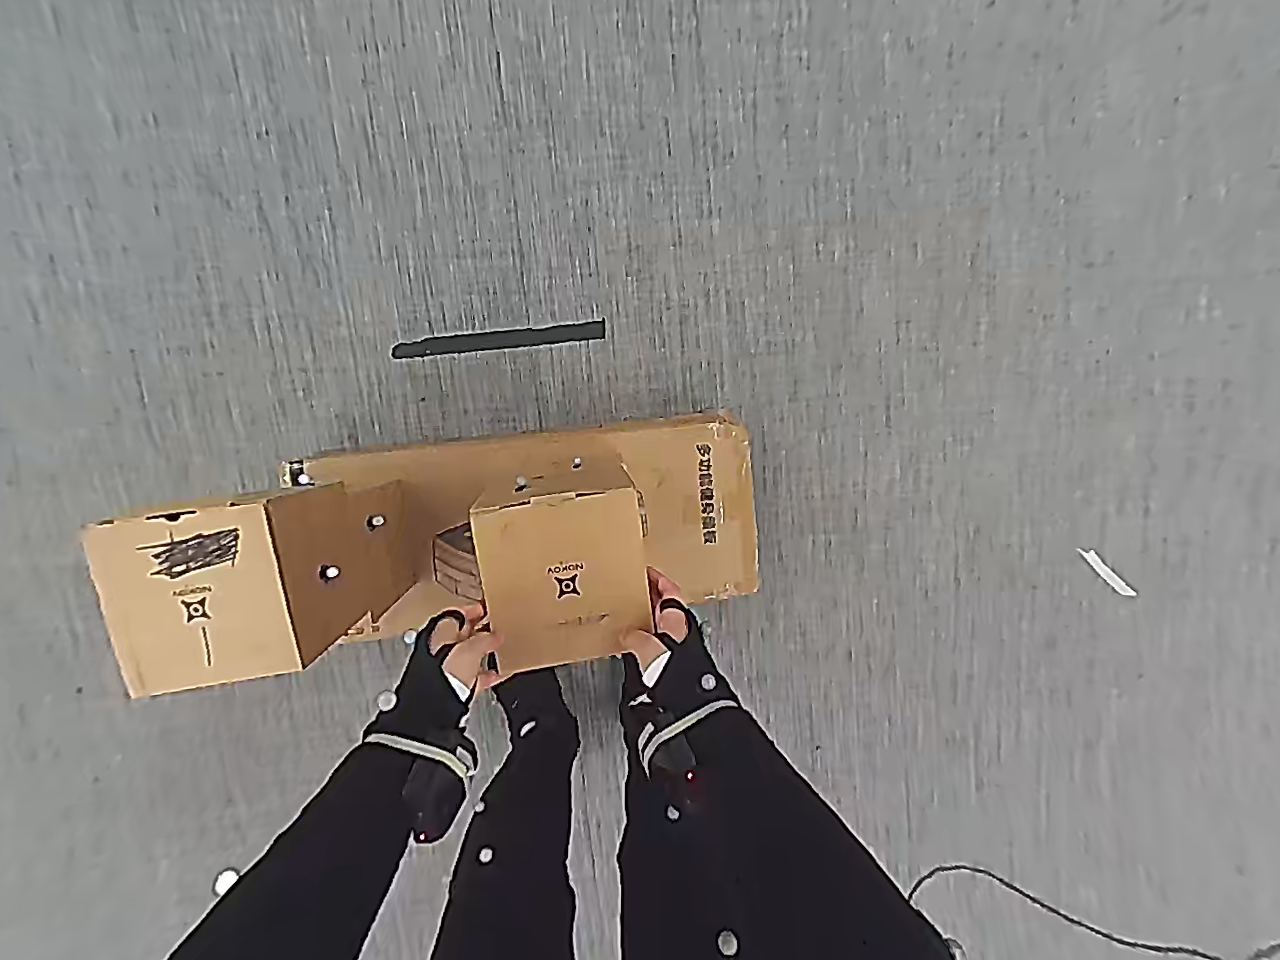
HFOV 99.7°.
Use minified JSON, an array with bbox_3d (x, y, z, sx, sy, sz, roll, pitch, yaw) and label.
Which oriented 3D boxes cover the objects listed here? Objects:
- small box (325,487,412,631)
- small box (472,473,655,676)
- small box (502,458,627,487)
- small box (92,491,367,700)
[{"bbox_3d":[-0.441,0.107,0.764,0.168,0.176,0.179,-6,97,-4],"label":"small box"},{"bbox_3d":[-0.085,0.092,0.623,0.168,0.176,0.179,-9,101,-5],"label":"small box"},{"bbox_3d":[-0.095,0.070,0.792,0.168,0.176,0.179,-9,98,-4],"label":"small box"},{"bbox_3d":[-0.430,0.111,0.600,0.168,0.176,0.179,-8,98,-5],"label":"small box"}]
